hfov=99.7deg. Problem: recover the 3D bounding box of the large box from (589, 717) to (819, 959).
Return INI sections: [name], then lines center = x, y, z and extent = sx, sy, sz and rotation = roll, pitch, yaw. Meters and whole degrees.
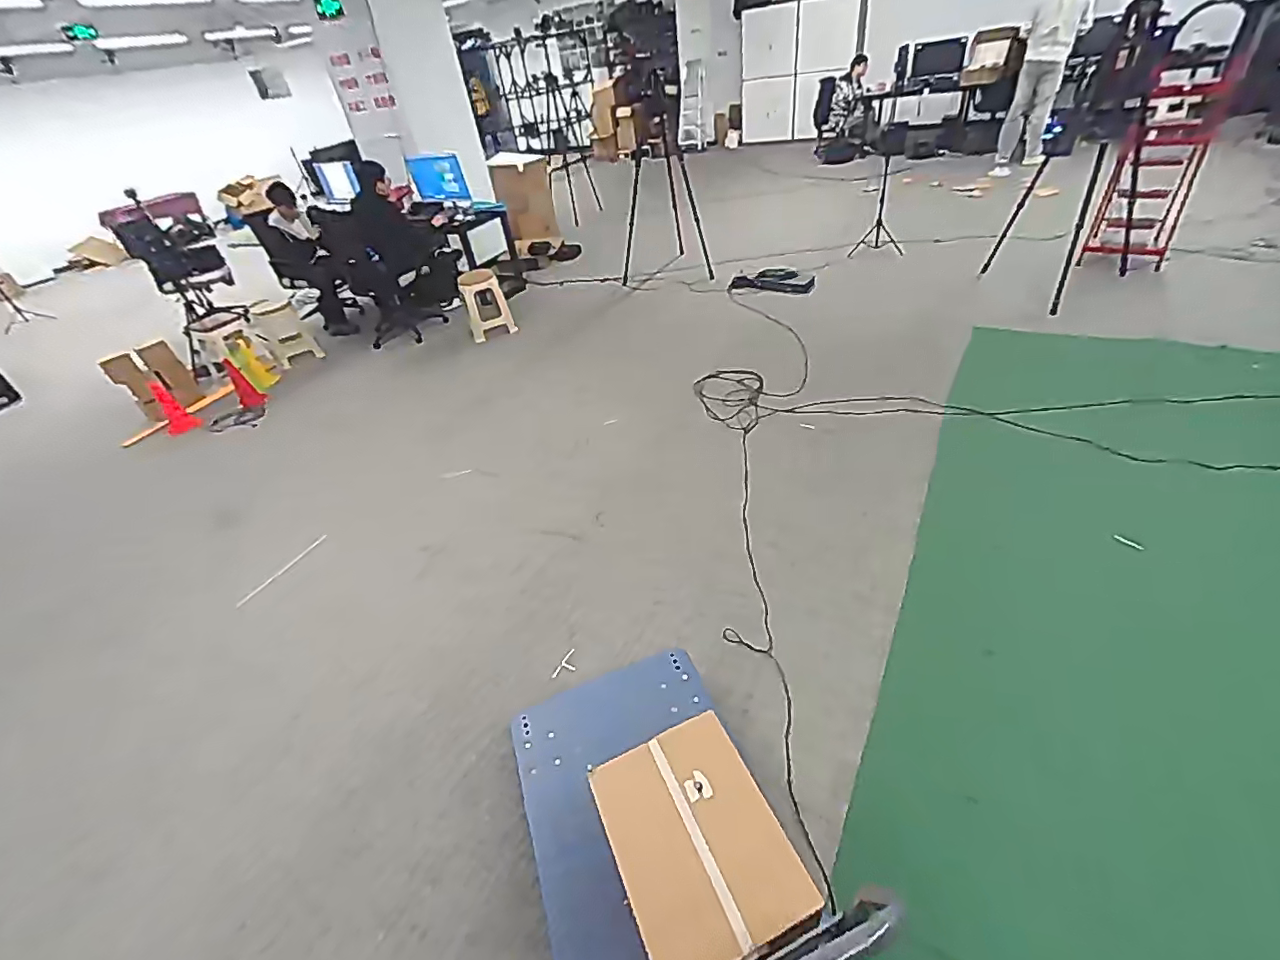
[large box]
center = 0.127, 0.818, 1.157
extent = 0.320, 0.320, 0.408
rotation = -20, 39, -14
